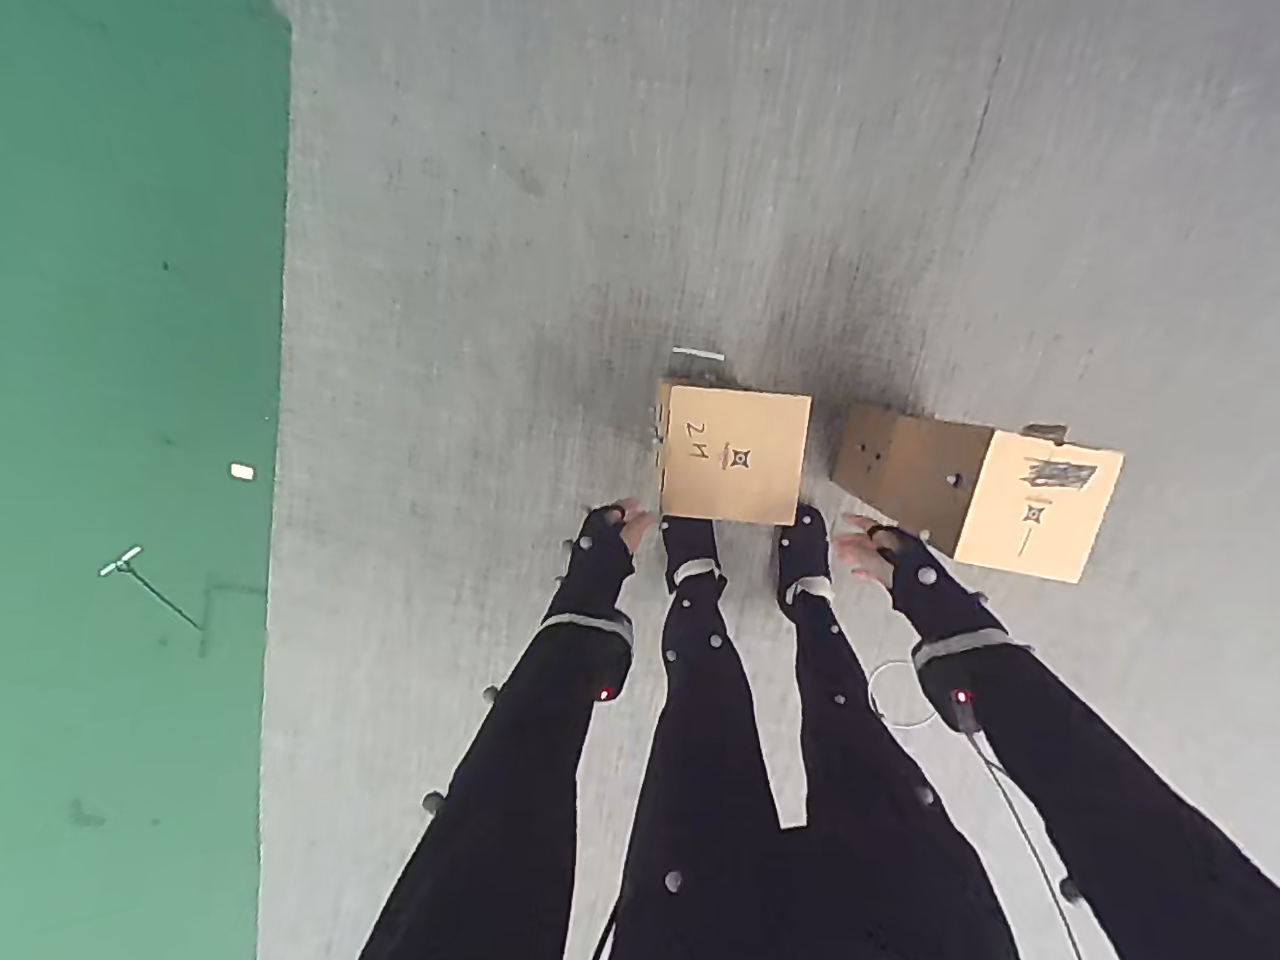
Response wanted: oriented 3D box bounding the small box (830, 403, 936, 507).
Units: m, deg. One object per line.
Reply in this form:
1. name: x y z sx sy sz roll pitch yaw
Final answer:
1. small box: 0.499 -0.051 1.084 0.168 0.176 0.179 10 101 -2

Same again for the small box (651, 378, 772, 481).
1. small box: 0.113 -0.083 0.920 0.179 0.176 0.168 4 101 1

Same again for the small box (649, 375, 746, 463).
1. small box: 0.112 -0.120 1.080 0.179 0.176 0.168 5 101 2

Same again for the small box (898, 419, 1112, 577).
1. small box: 0.493 0.014 0.762 0.168 0.176 0.179 10 101 0

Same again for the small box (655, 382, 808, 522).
1. small box: 0.116 -0.048 0.757 0.179 0.176 0.168 6 100 1
